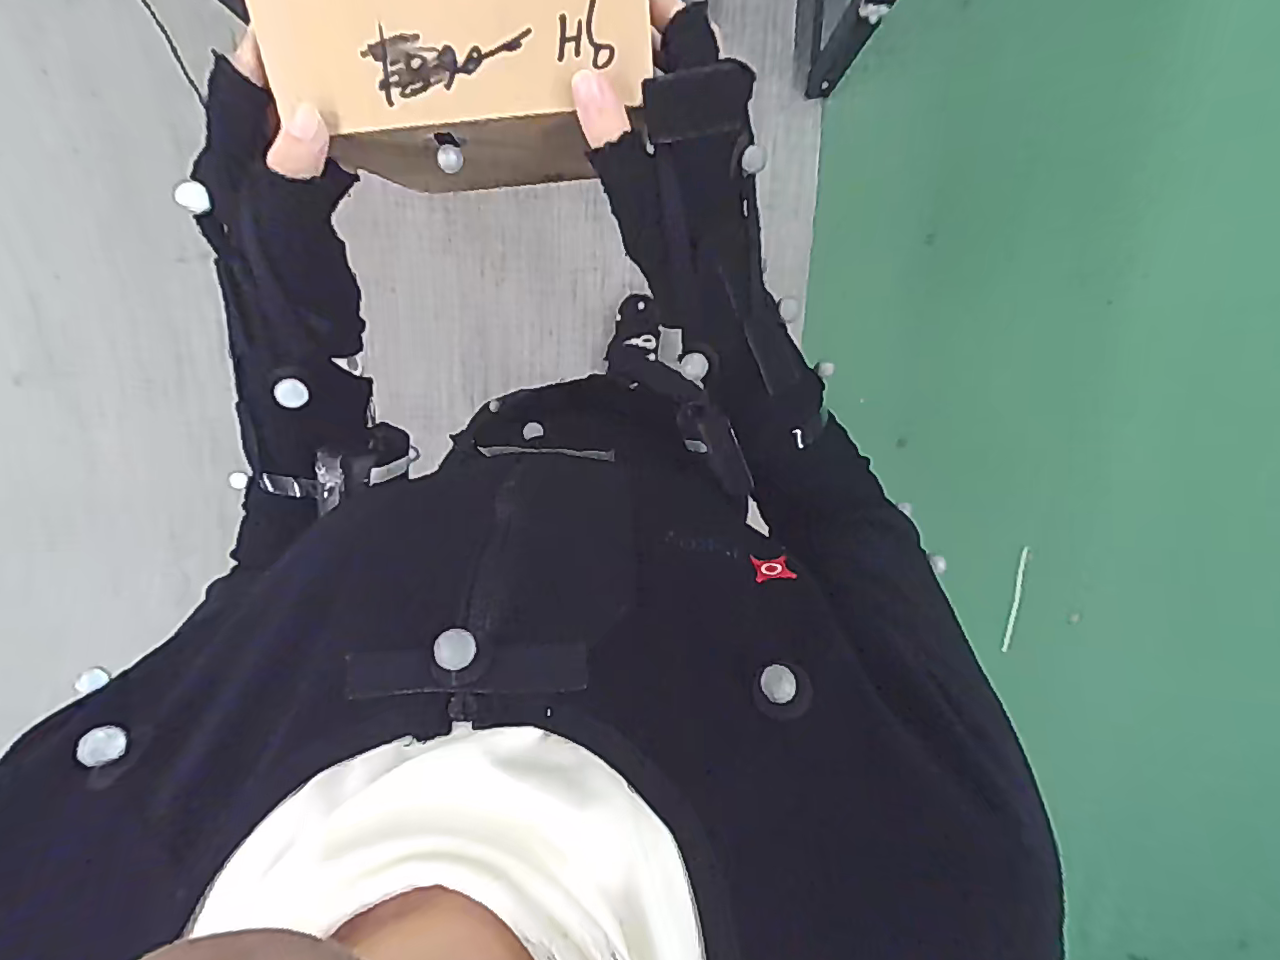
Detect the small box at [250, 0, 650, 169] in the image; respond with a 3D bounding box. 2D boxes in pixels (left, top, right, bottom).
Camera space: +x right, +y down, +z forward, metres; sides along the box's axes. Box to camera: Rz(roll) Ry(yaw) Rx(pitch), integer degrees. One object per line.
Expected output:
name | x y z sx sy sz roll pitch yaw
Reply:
small box | -0.086 -0.284 0.281 0.168 0.176 0.179 -5 110 0
